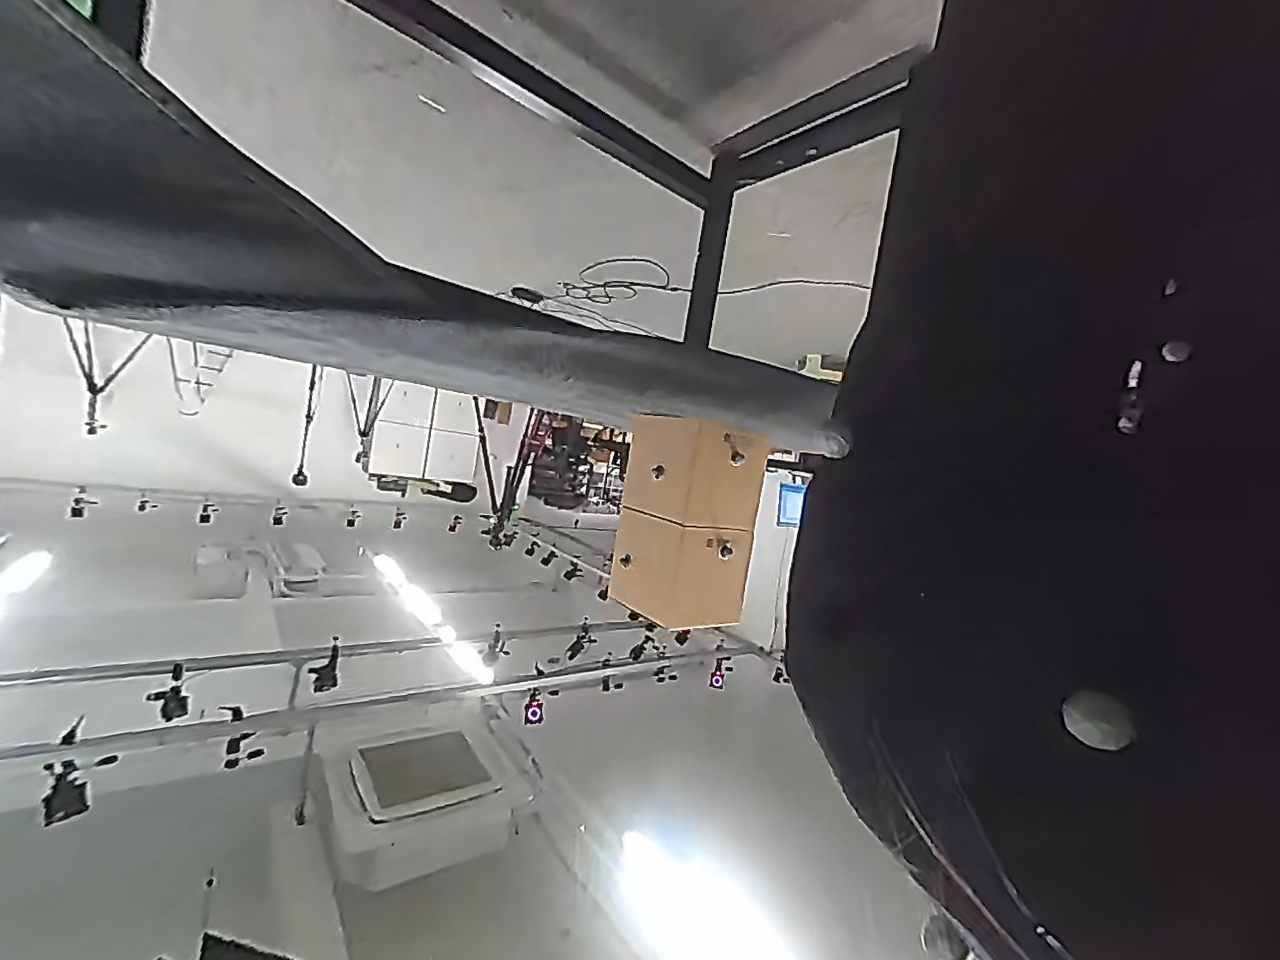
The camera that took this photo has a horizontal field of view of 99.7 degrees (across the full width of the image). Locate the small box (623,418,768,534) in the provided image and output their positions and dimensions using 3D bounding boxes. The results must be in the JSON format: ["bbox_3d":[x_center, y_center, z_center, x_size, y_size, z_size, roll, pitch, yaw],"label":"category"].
[{"bbox_3d":[0.096,-0.011,0.927,0.168,0.176,0.179,7,-177,-37],"label":"small box"}]

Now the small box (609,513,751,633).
[{"bbox_3d":[0.071,0.149,0.935,0.168,0.176,0.179,6,-177,-36],"label":"small box"}]
